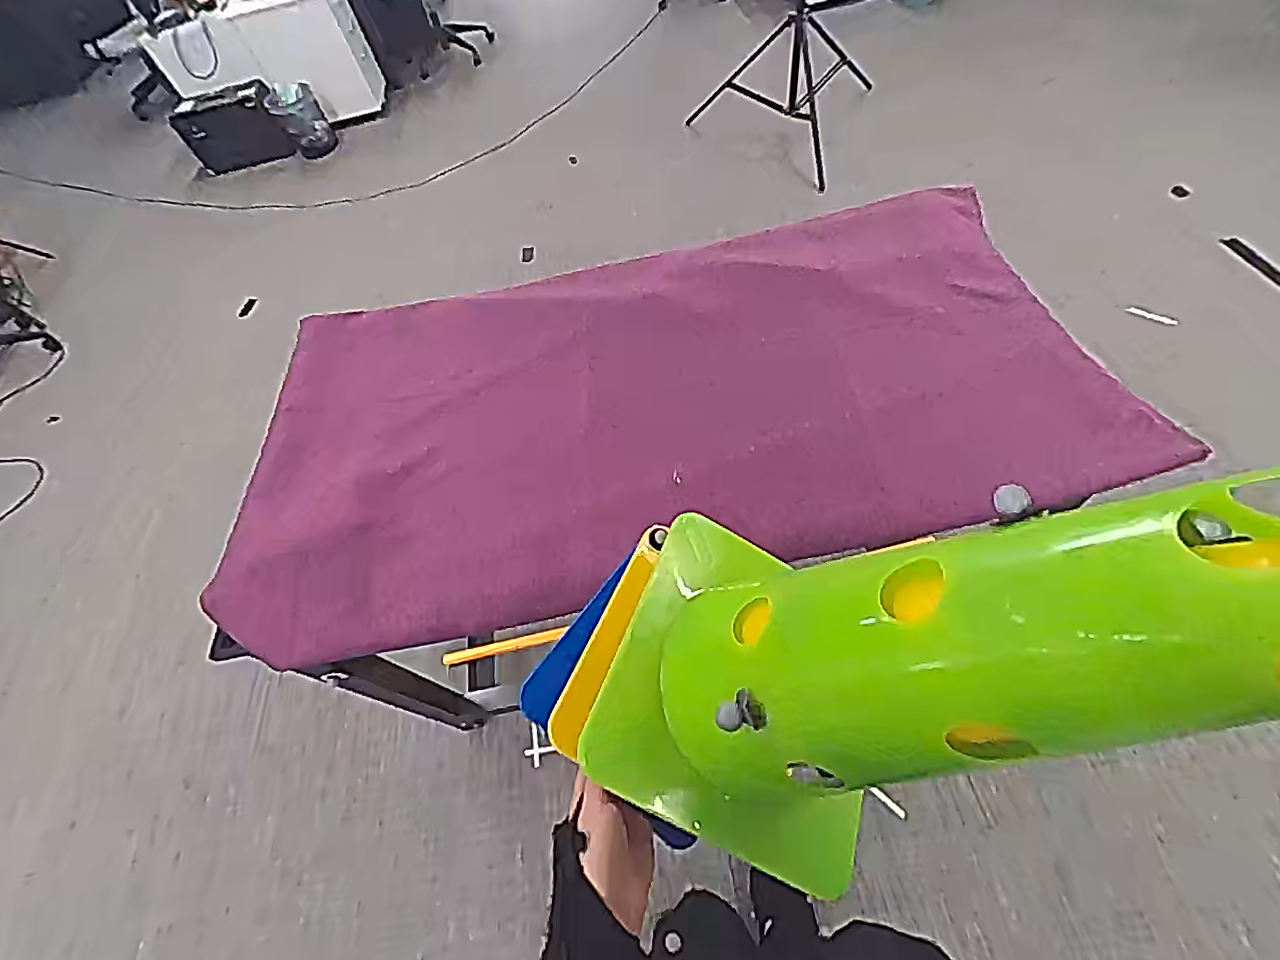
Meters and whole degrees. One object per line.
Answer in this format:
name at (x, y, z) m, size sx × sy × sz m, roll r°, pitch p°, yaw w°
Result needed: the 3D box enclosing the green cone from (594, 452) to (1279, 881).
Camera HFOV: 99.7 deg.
green cone at (0.145, 0.060, 0.230) m, size 0.200 × 0.368 × 0.202 m, roll 30°, pitch 58°, yaw -6°
